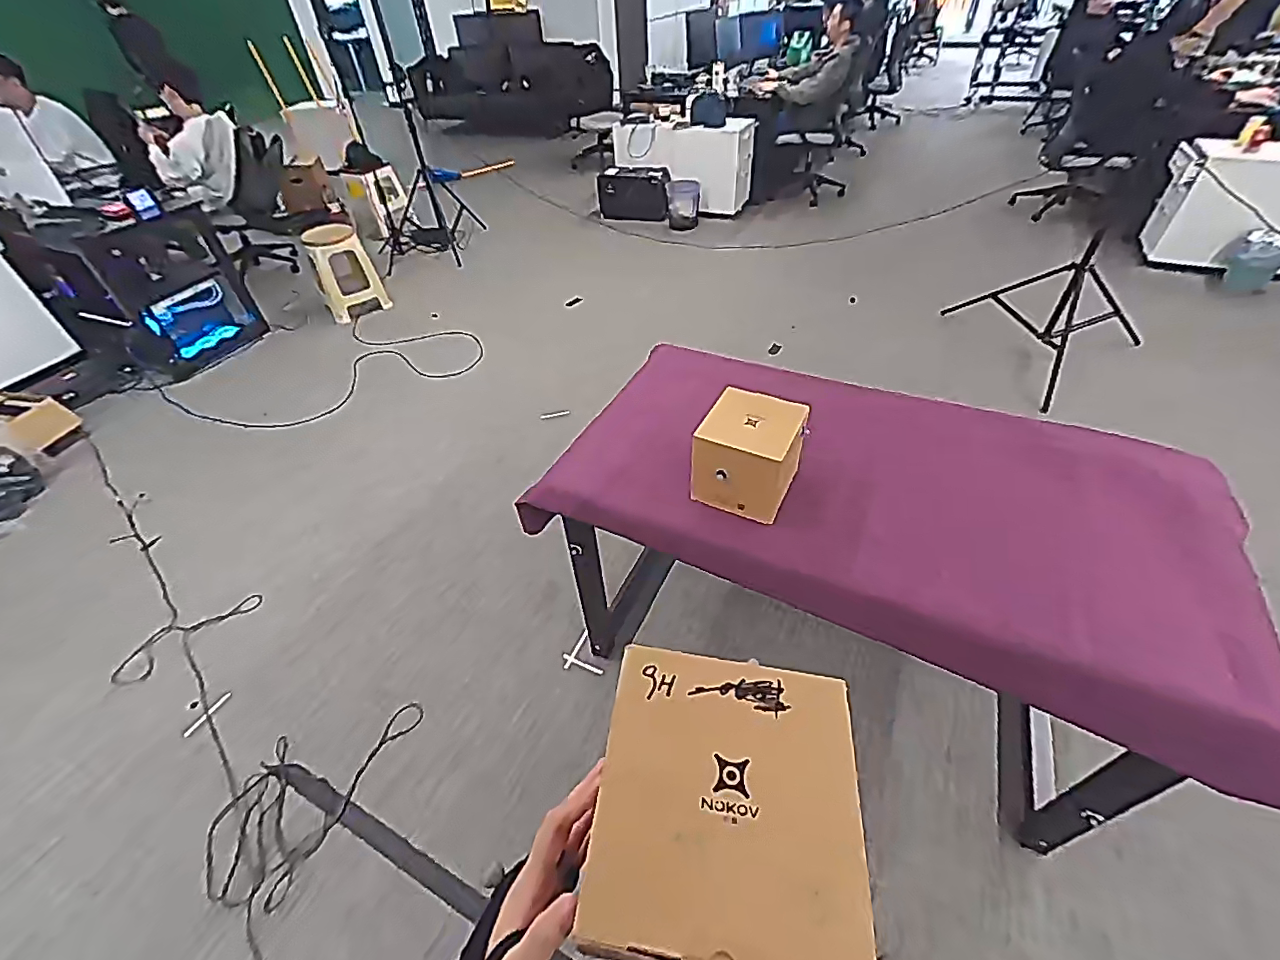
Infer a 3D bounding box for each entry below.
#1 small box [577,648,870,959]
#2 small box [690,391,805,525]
[{"bbox_3d":[0.056,0.256,0.408,0.168,0.176,0.179,8,48,4],"label":"small box"},{"bbox_3d":[0.206,-0.042,1.049,0.168,0.176,0.179,18,47,21],"label":"small box"}]
